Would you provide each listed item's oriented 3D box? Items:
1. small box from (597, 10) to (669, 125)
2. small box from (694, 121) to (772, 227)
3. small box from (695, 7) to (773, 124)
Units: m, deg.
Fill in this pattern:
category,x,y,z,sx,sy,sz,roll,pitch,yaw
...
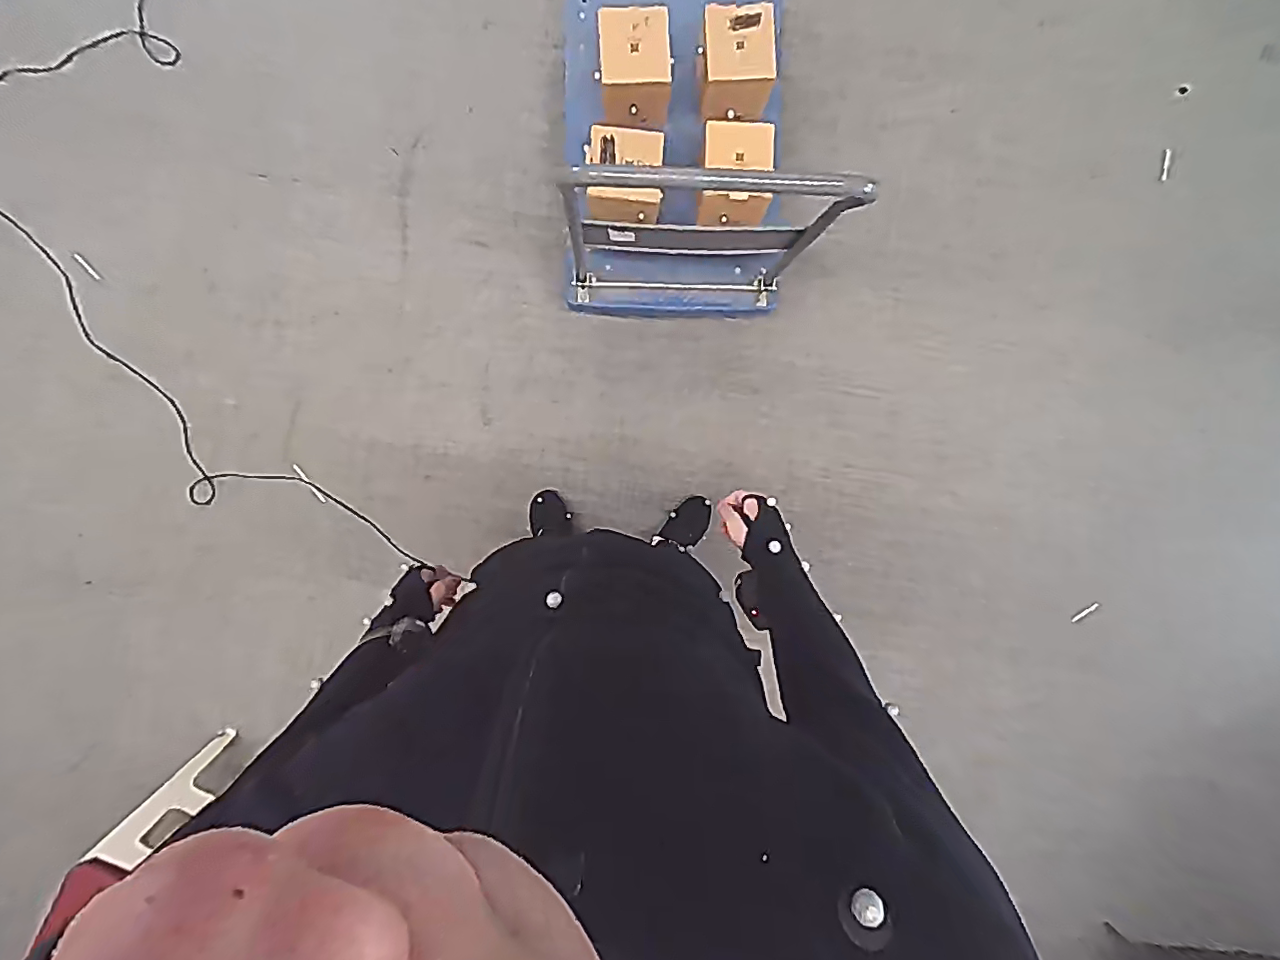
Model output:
category,x,y,z,sx,sy,sz,roll,pitch,yaw
small box,-0.018,-1.026,1.361,0.168,0.176,0.179,-3,92,-3
small box,0.232,-0.773,1.379,0.168,0.176,0.179,1,92,-2
small box,0.233,-1.043,1.370,0.168,0.176,0.179,-3,93,-1
